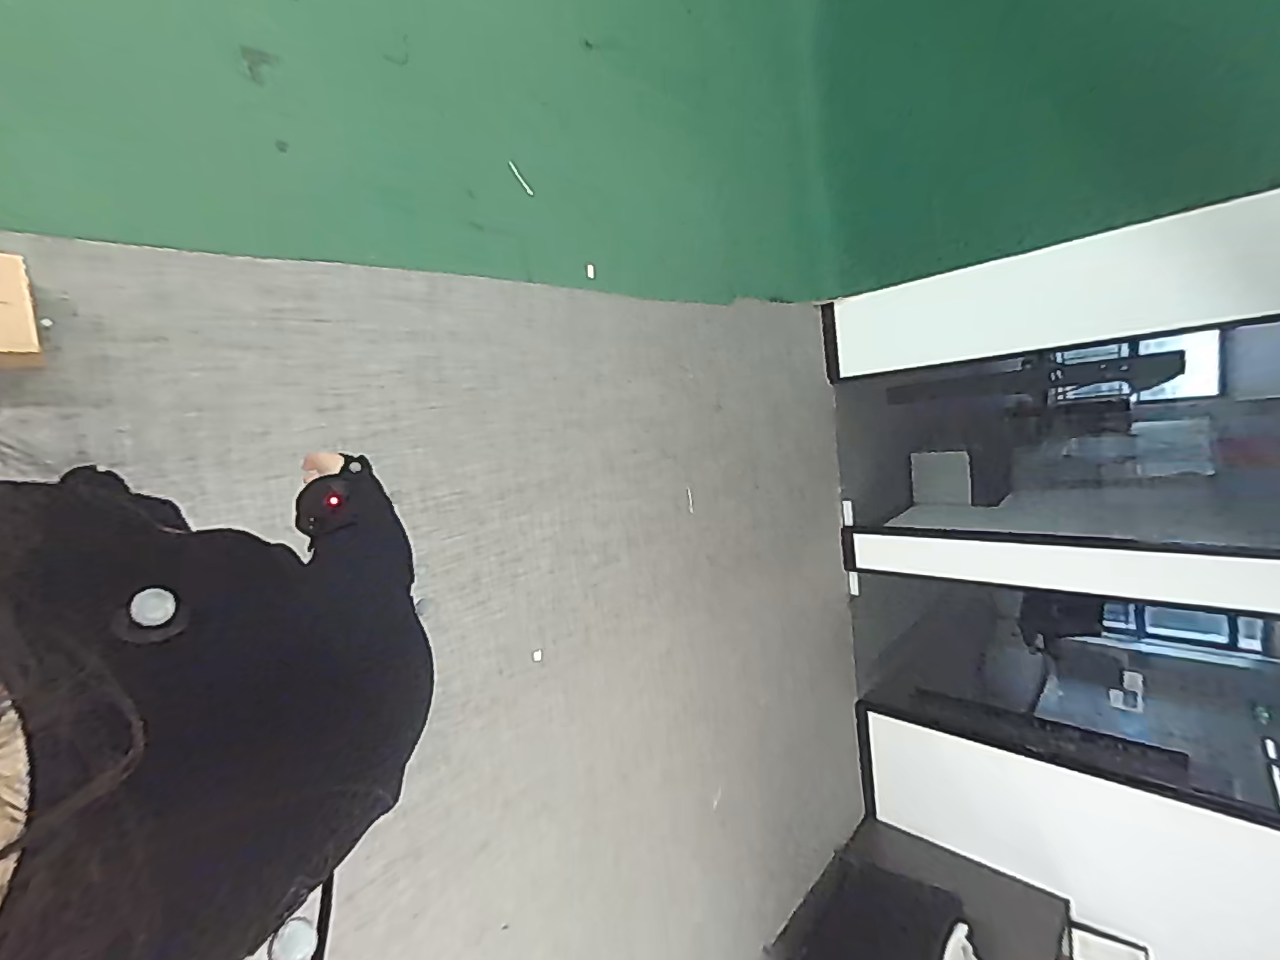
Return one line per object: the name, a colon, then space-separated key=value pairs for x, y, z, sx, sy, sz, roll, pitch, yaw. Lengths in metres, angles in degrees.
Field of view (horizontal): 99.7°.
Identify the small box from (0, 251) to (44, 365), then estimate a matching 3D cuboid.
small box: x=-1.145 y=-0.289 z=0.908 sx=0.179 sy=0.176 sz=0.168 roll=-9 pitch=97 yaw=-45
